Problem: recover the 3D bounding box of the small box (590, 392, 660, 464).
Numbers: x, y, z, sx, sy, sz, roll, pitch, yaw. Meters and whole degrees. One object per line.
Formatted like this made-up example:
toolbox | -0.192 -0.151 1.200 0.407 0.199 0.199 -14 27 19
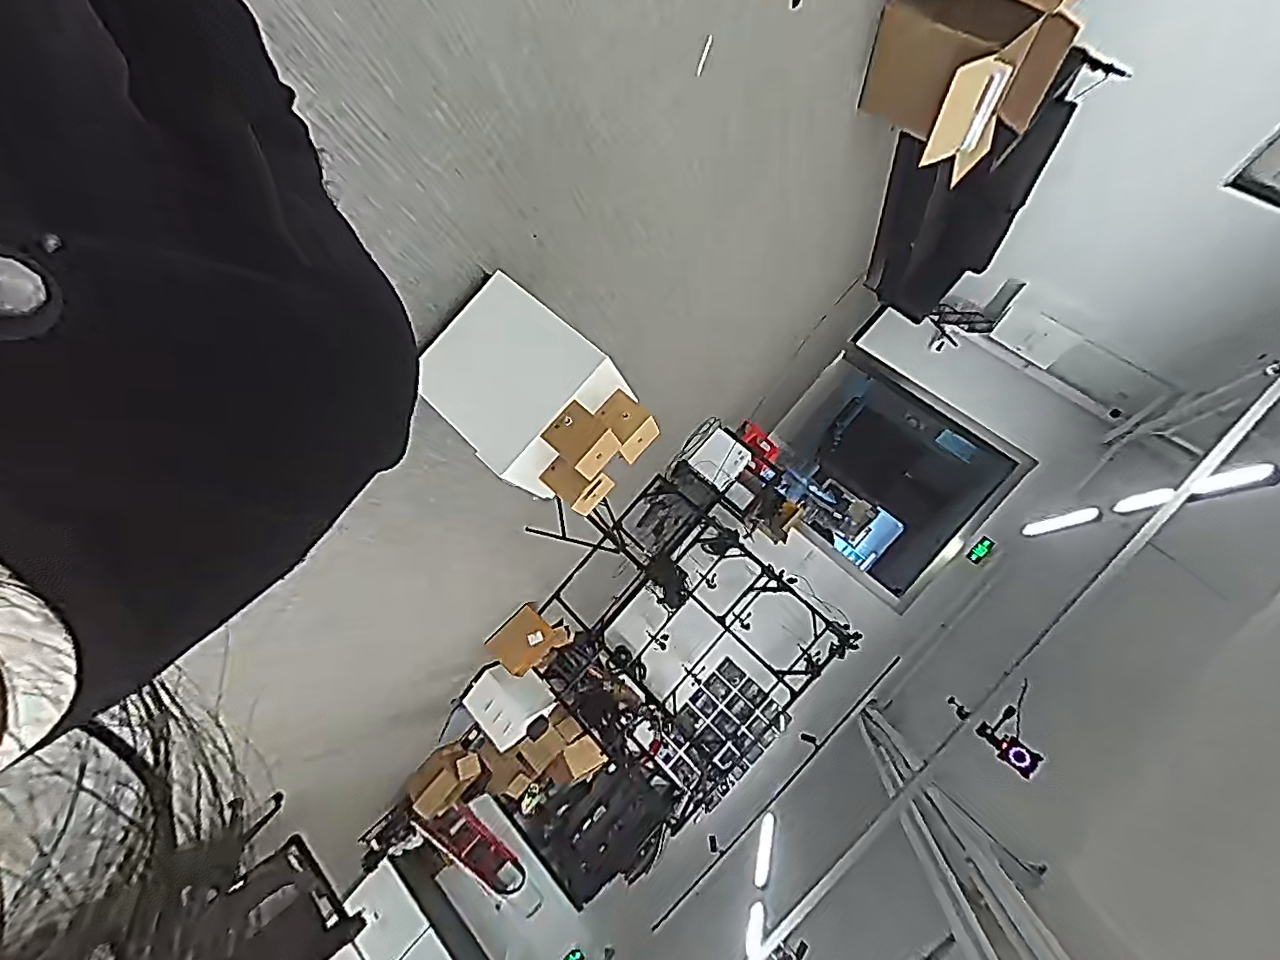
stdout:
small box | -0.054 -0.190 1.935 0.168 0.176 0.179 -47 161 -3
